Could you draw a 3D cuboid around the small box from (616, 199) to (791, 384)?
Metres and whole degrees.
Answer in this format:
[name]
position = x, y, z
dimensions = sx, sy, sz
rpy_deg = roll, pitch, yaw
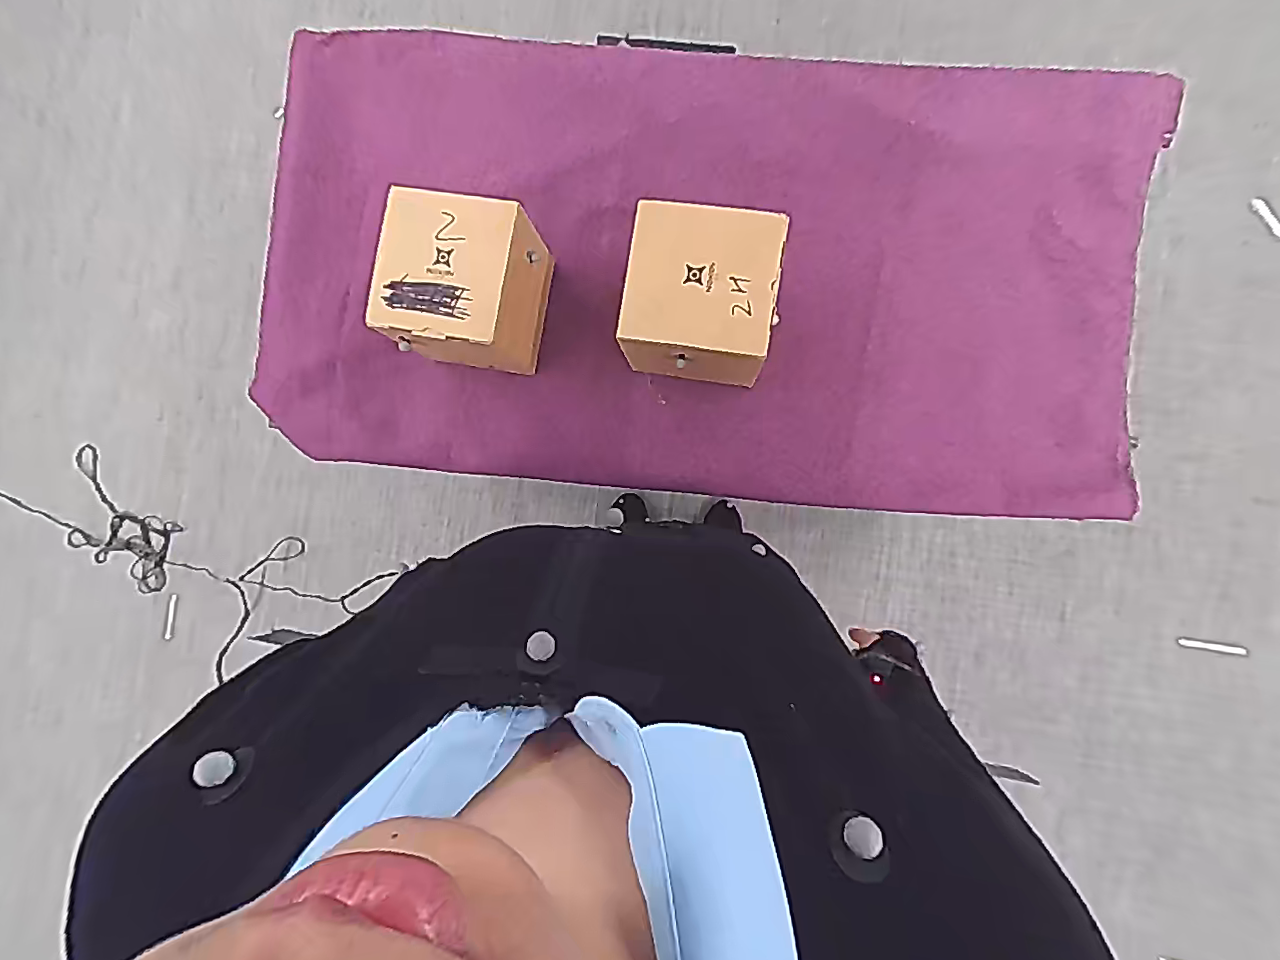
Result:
[small box]
position = 0.079, -0.228, 0.692
dimensions = 0.179, 0.176, 0.168
rpy_deg = 10, 90, 6
